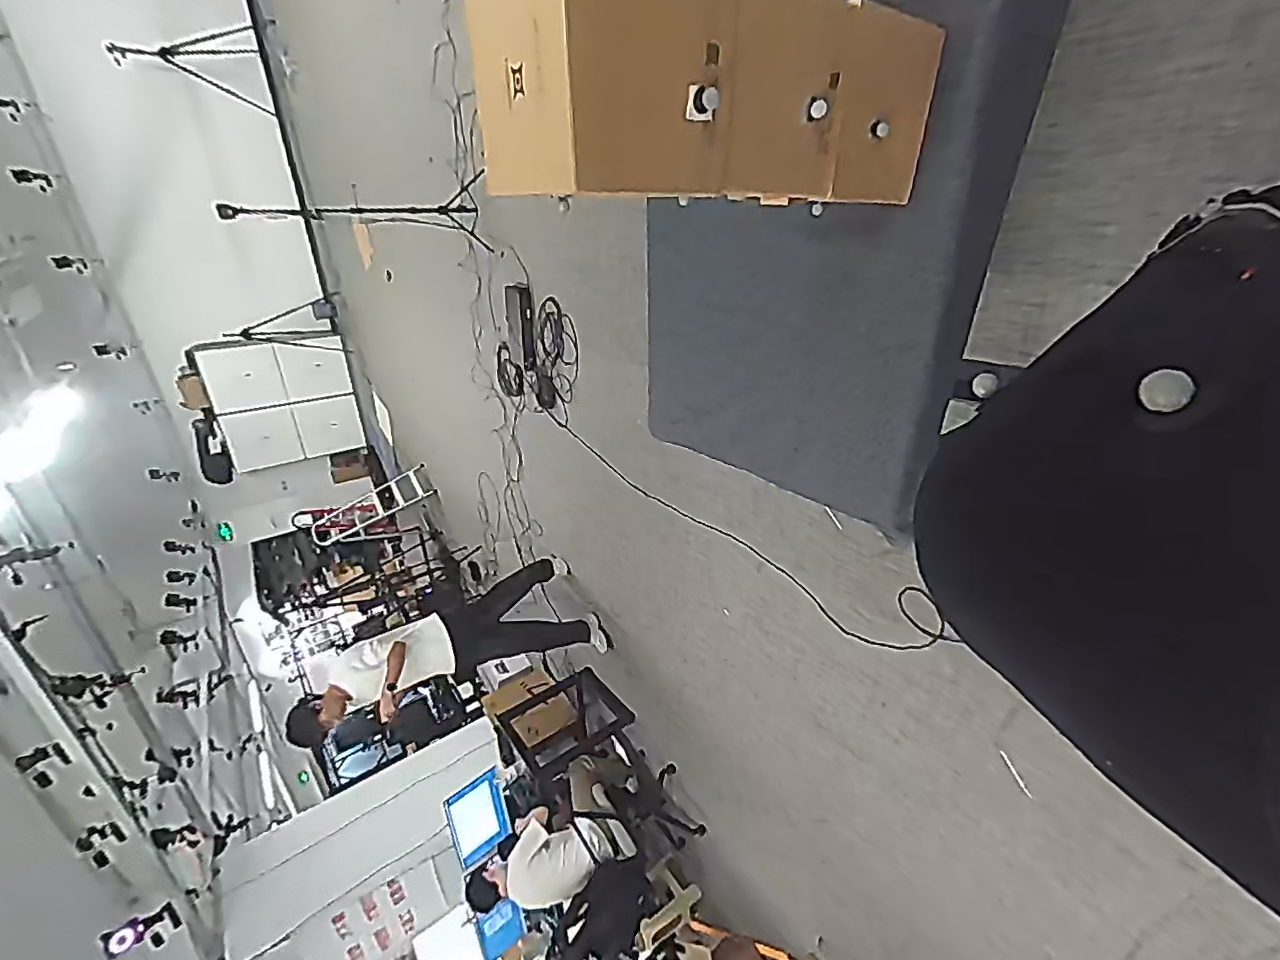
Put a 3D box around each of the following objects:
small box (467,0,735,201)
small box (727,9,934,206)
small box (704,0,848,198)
[{"bbox_3d":[-0.037,-0.351,0.498,0.179,0.176,0.168,30,131,46],"label":"small box"},{"bbox_3d":[0.228,-0.440,0.666,0.168,0.176,0.179,33,132,45],"label":"small box"},{"bbox_3d":[0.090,-0.402,0.585,0.179,0.176,0.168,32,131,48],"label":"small box"}]
